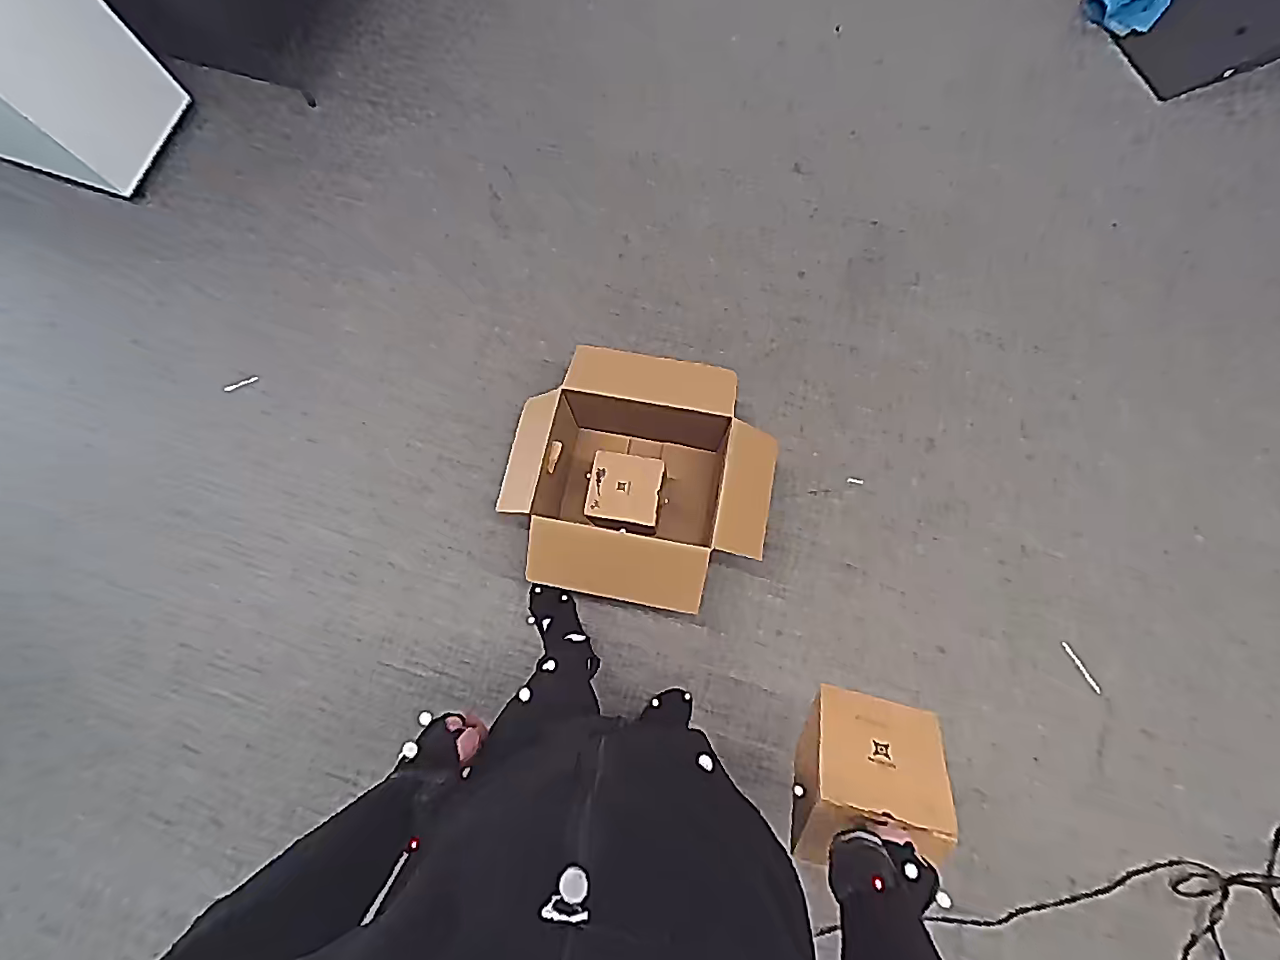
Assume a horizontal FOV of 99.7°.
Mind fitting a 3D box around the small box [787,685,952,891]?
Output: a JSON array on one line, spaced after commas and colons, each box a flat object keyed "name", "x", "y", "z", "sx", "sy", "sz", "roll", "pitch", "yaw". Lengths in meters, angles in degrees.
[{"name": "small box", "x": 0.310, "y": 0.434, "z": 0.766, "sx": 0.168, "sy": 0.176, "sz": 0.179, "roll": 13, "pitch": 33, "yaw": 11}]
